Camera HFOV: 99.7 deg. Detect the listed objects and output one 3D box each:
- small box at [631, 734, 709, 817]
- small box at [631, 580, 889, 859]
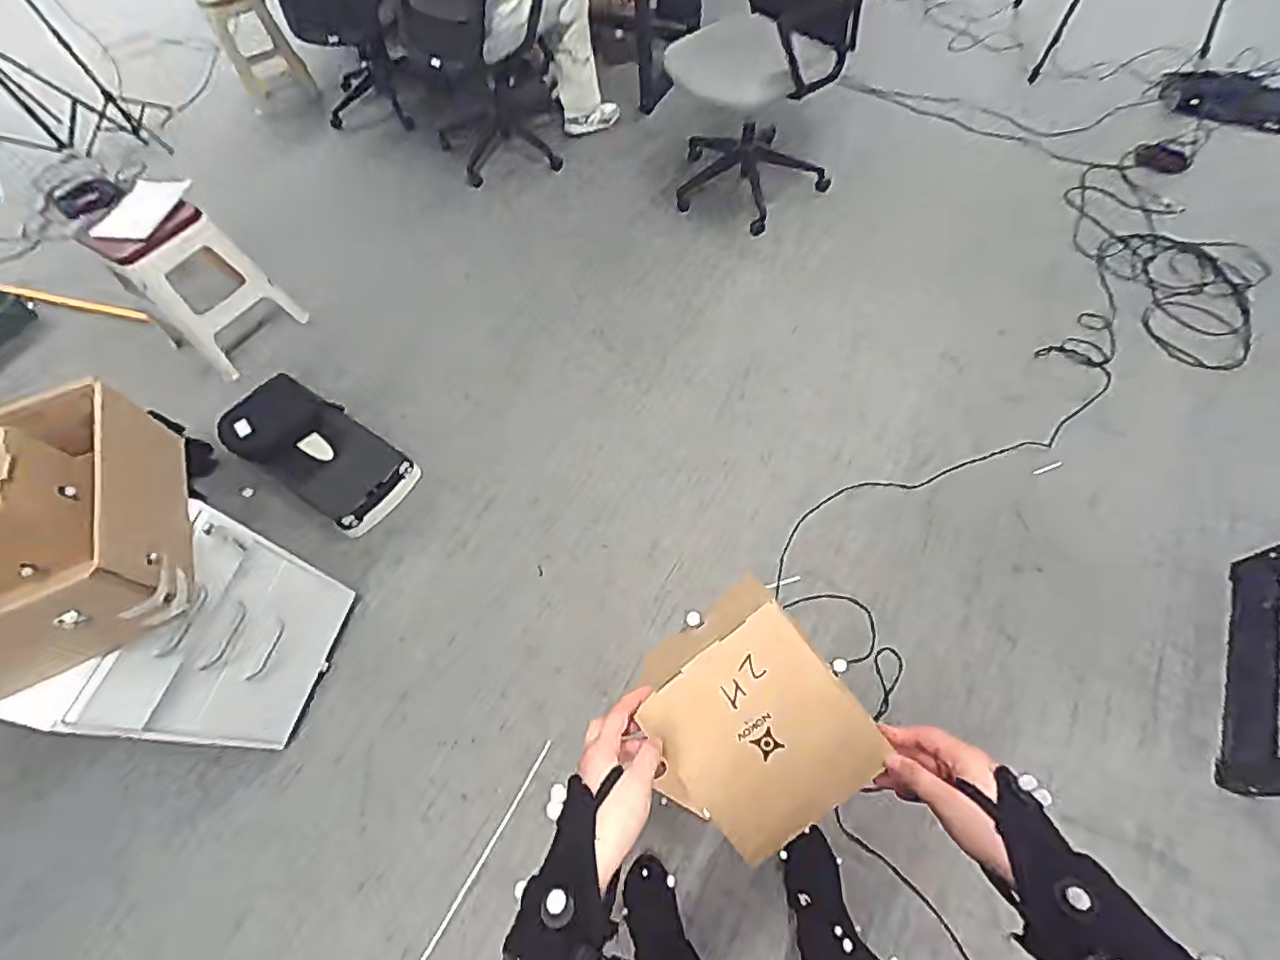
[{"bbox_3d":[0.100,0.614,1.204,0.179,0.176,0.168,22,66,16],"label":"small box"},{"bbox_3d":[0.115,0.228,0.566,0.168,0.176,0.179,-40,85,3],"label":"small box"}]
